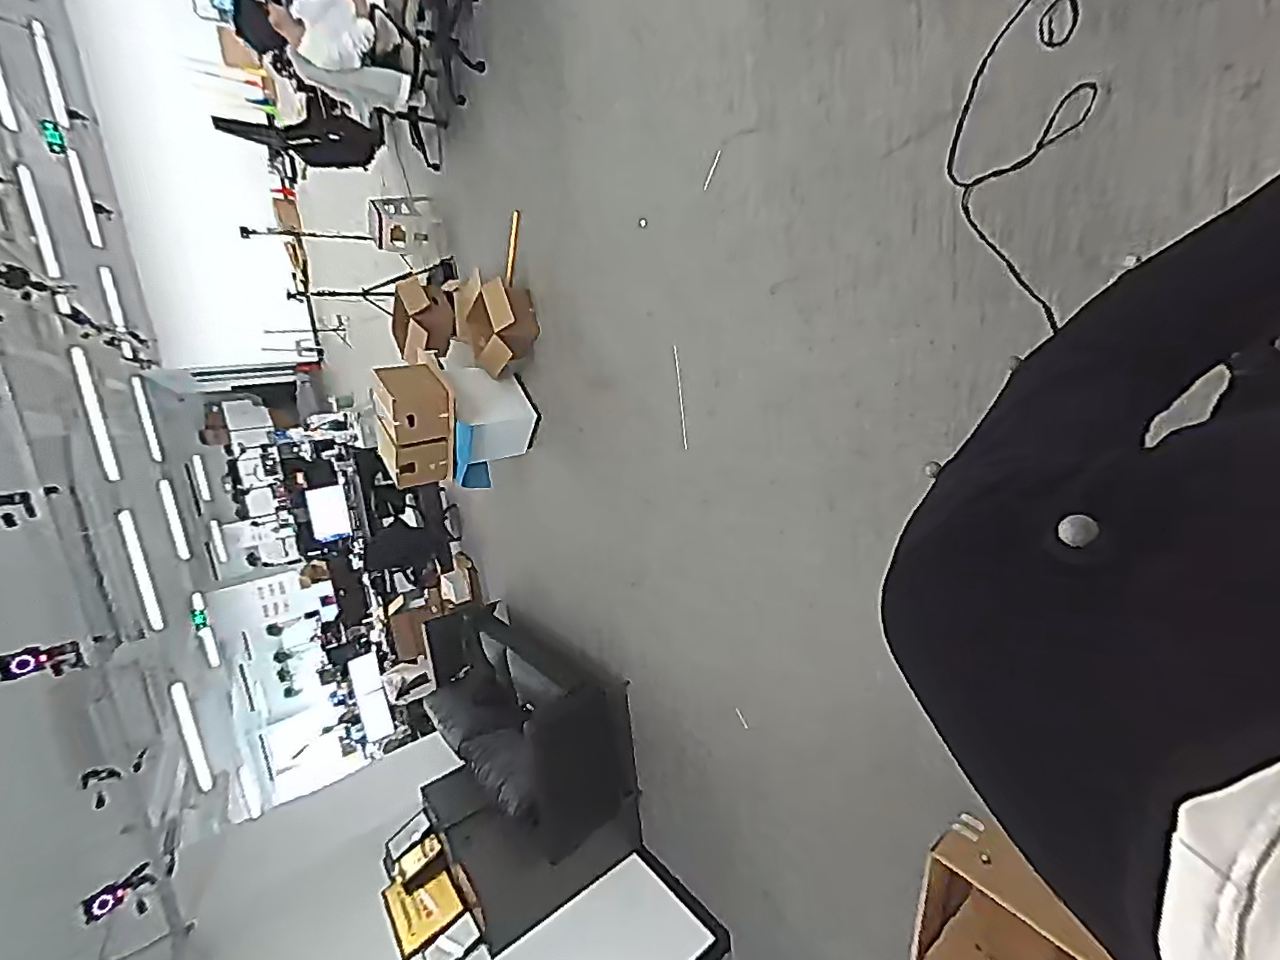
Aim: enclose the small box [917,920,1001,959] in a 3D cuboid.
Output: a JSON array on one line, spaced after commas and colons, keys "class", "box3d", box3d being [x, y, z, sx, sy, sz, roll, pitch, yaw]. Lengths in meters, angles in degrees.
[{"class": "small box", "box3d": [0.683, 1.104, 1.142, 0.168, 0.176, 0.179, 20, 116, 49]}]
